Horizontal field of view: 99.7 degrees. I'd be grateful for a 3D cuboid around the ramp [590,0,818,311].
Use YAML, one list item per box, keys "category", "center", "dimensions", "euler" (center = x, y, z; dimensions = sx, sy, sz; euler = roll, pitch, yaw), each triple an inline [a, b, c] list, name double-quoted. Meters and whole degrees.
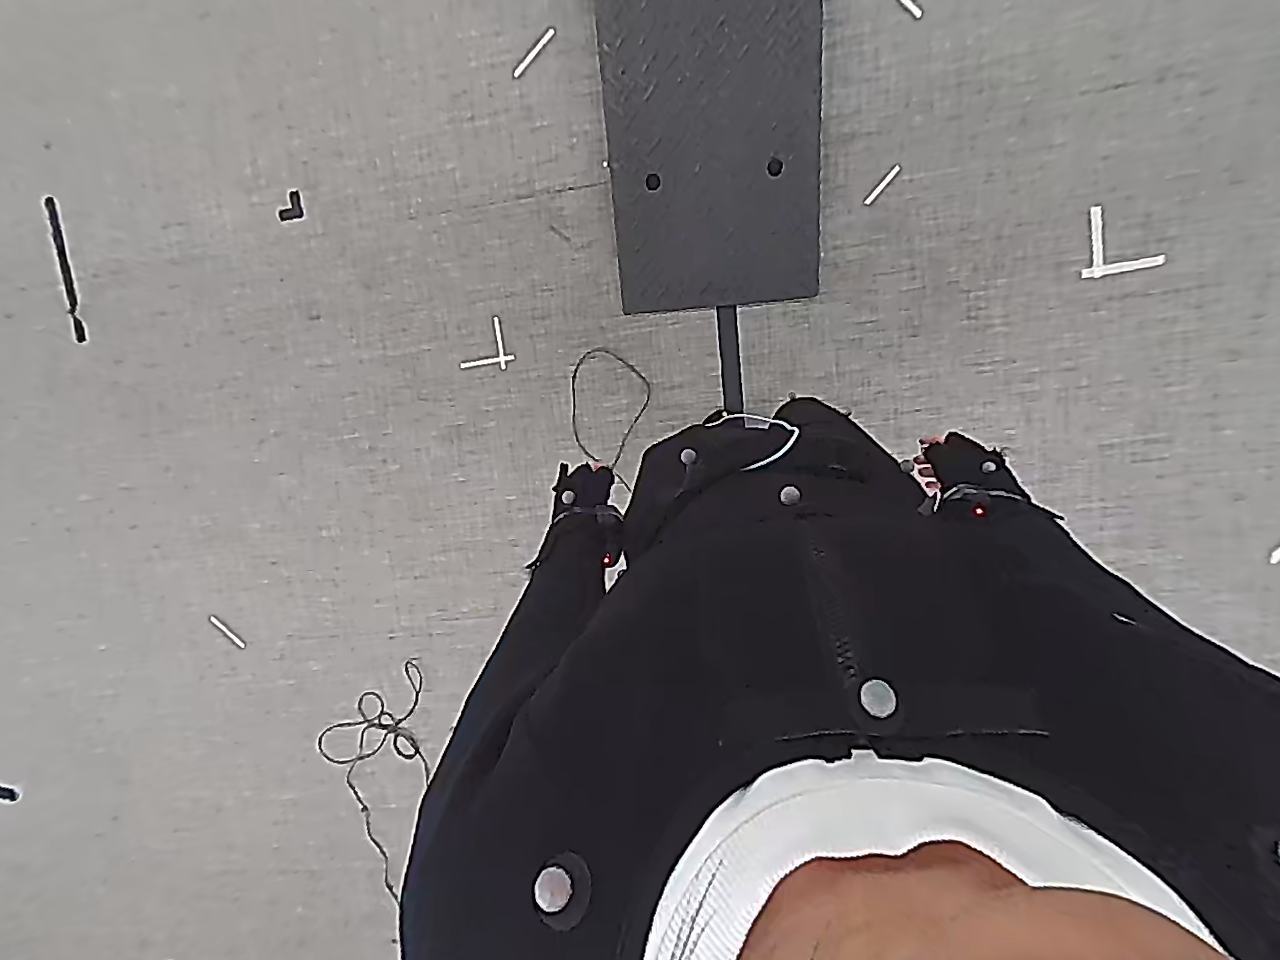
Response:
- category: "ramp"
  center: [0.147, -0.918, 1.205]
  dimensions: [0.509, 0.206, 0.991]
  euler: [-5, 99, 6]
